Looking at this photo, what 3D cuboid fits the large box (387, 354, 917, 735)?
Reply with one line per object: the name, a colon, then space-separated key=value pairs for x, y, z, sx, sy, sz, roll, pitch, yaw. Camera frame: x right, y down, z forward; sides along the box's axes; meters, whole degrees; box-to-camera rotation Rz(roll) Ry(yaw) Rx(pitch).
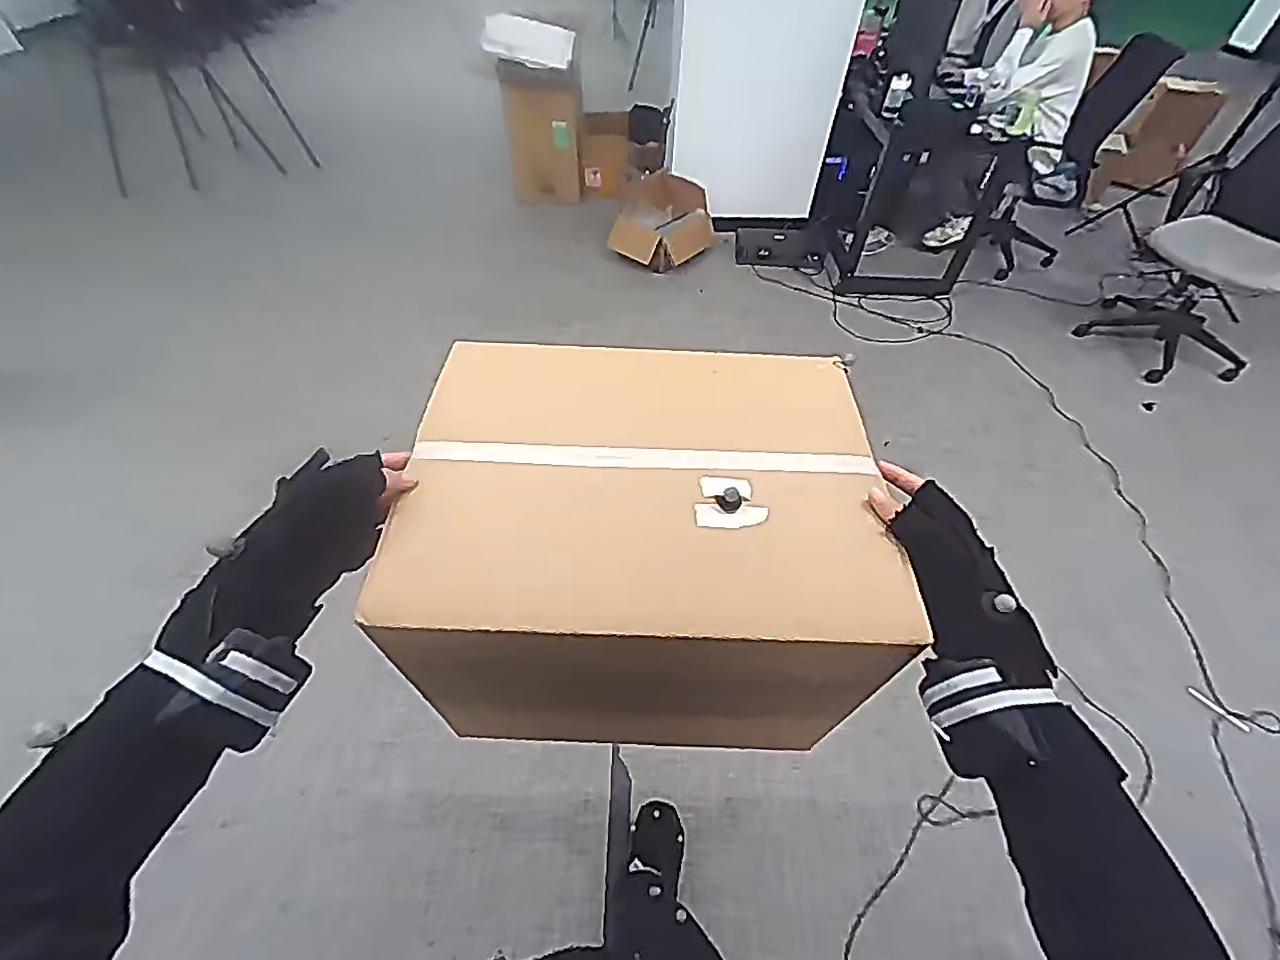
large box: x=0.005 y=0.082 z=0.605 sx=0.408 sy=0.320 sz=0.320 roll=2 pitch=52 yaw=-1
